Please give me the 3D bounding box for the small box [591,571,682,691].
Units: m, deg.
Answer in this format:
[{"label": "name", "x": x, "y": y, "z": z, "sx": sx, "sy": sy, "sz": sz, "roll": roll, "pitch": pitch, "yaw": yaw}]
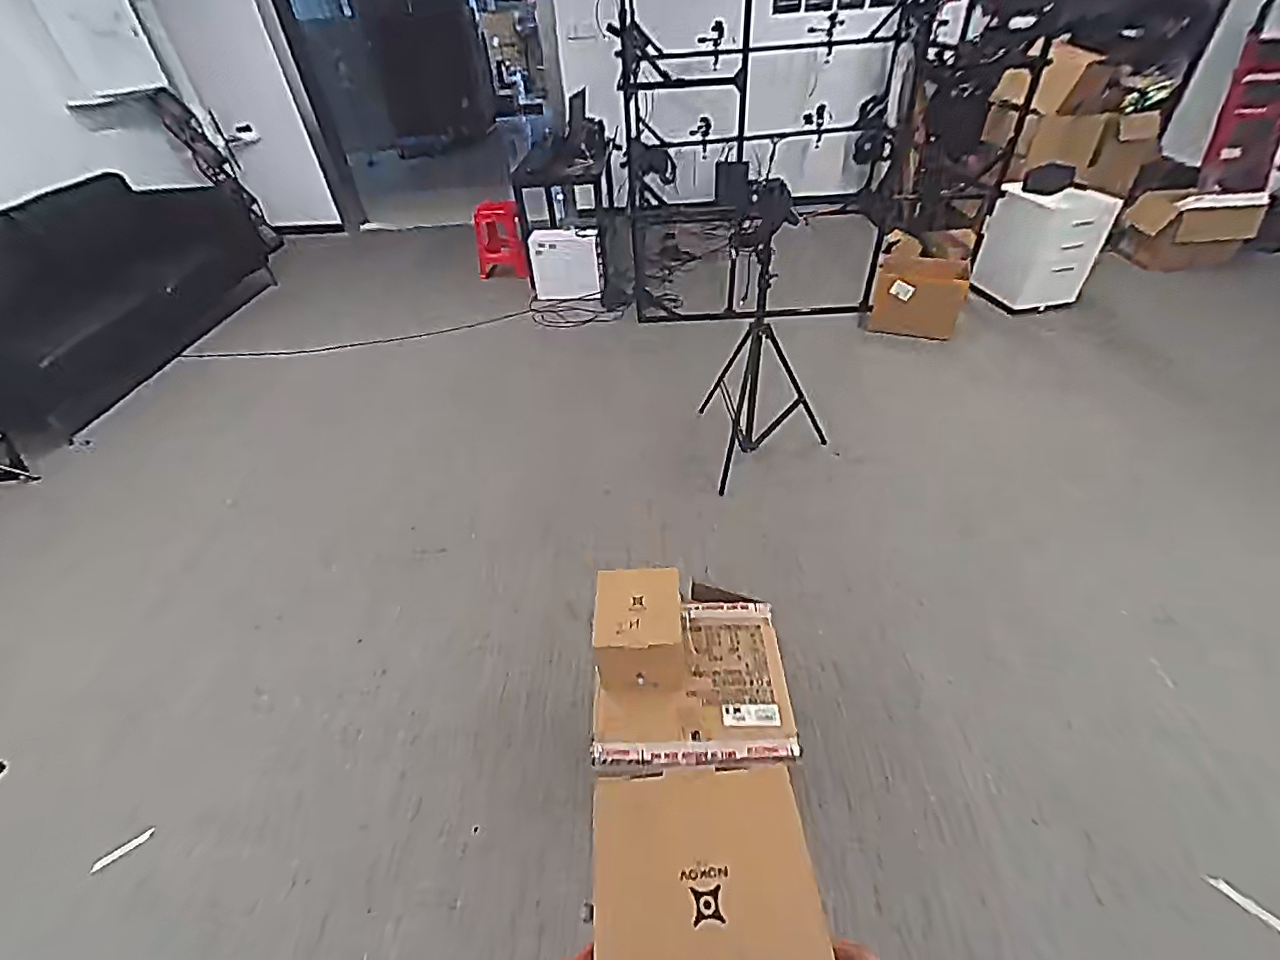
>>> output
[{"label": "small box", "x": -0.001, "y": 0.304, "z": 1.092, "sx": 0.168, "sy": 0.176, "sz": 0.179, "roll": -3, "pitch": 43, "yaw": 4}]
